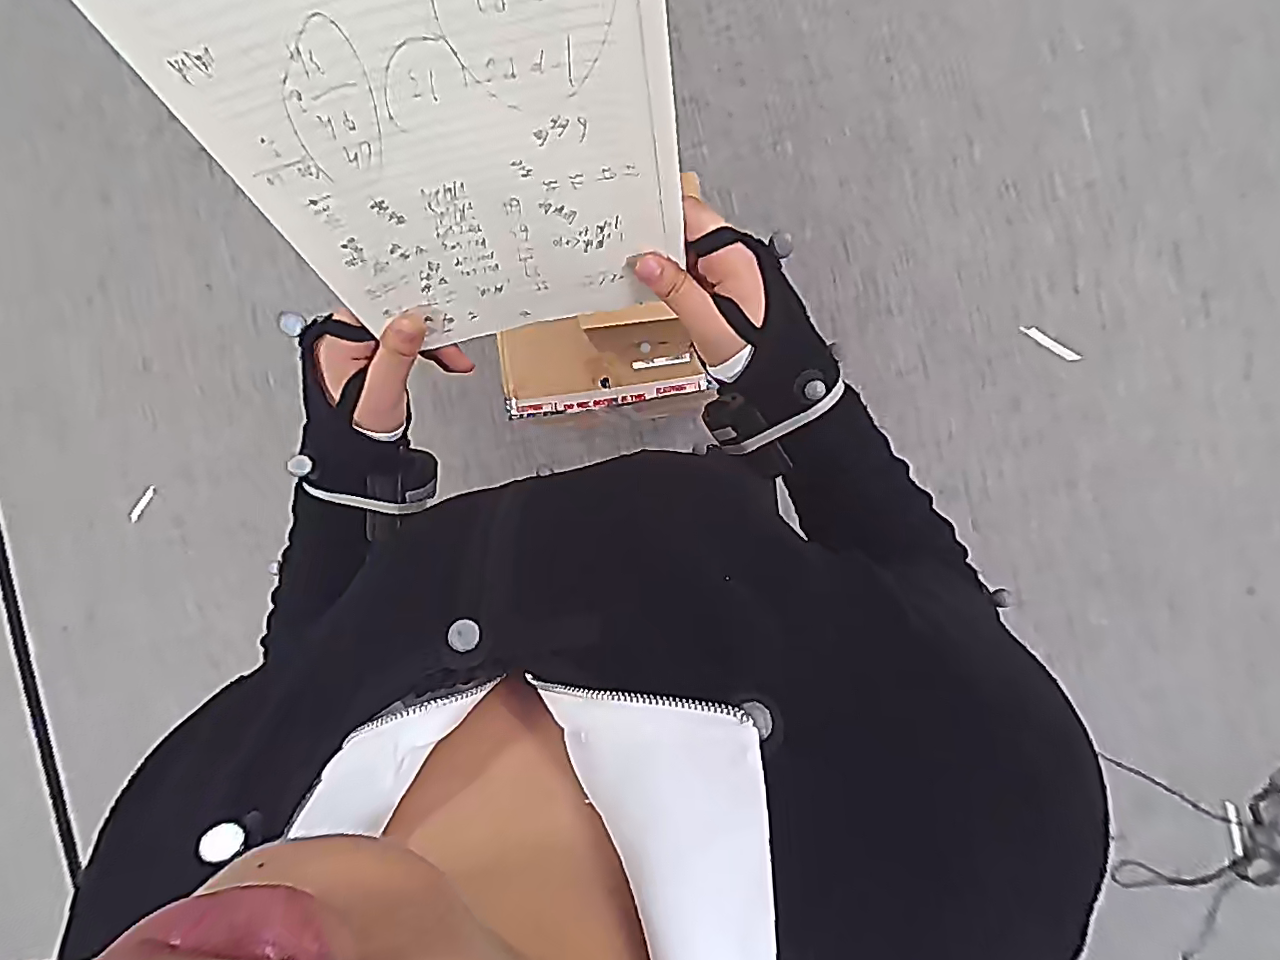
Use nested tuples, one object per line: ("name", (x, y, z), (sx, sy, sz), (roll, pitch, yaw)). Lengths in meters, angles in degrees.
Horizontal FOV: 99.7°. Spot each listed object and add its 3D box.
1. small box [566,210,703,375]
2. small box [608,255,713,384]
("small box", (-0.005, -0.253, 0.767), (0.168, 0.176, 0.179), (-5, 94, 3))
("small box", (0.022, -0.267, 0.930), (0.179, 0.176, 0.168), (-9, 92, 4))
